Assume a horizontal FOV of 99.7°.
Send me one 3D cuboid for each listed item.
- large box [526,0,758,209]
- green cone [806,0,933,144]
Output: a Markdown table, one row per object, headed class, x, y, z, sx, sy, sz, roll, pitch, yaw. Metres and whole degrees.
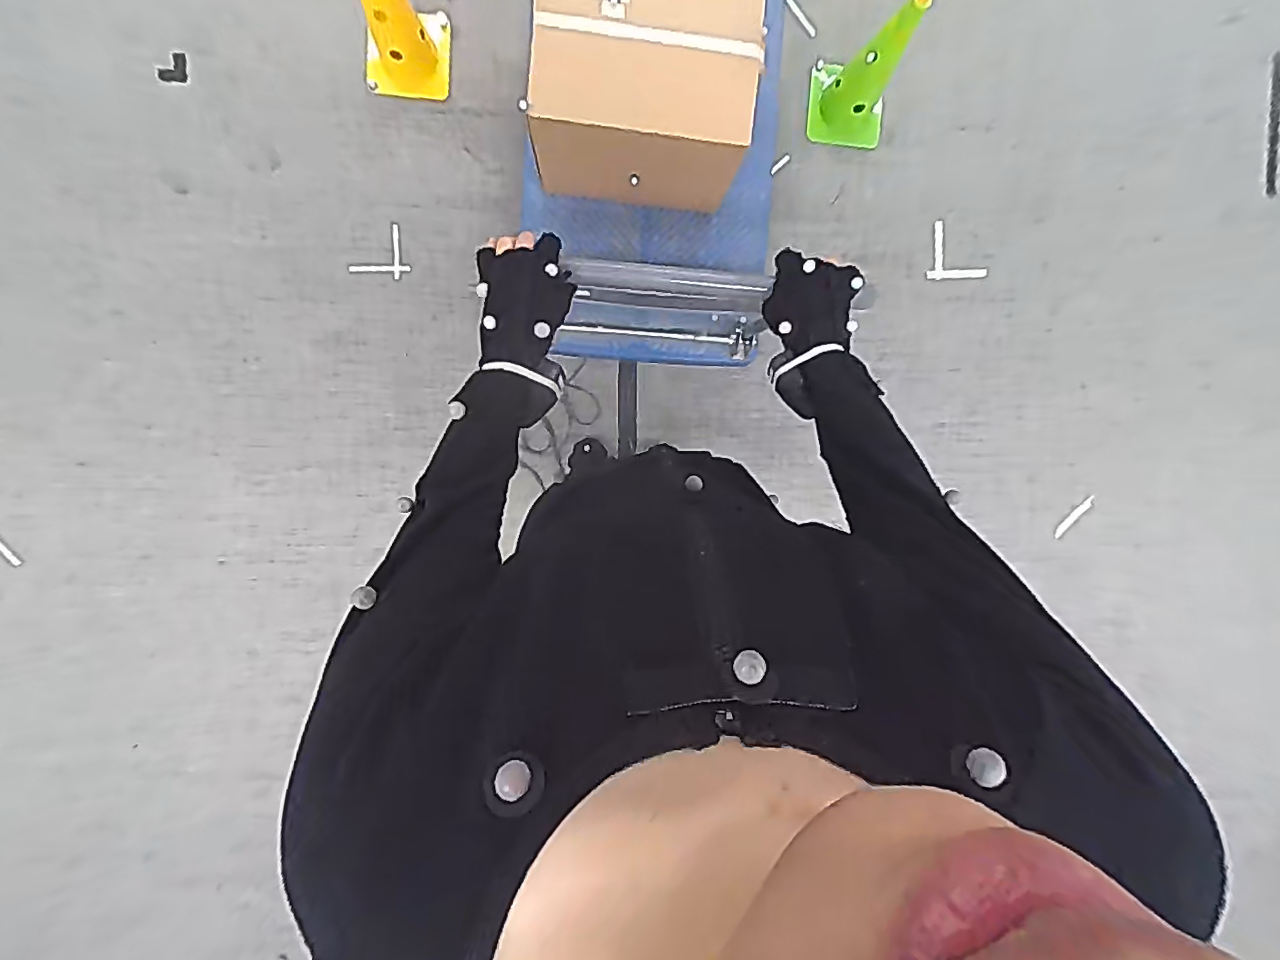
| class | x | y | z | sx | sy | sz | roll | pitch | yaw |
| --- | --- | --- | --- | --- | --- | --- | --- | --- | --- |
| large box | -0.001 | -0.789 | 1.109 | 0.408 | 0.320 | 0.320 | 5 | 94 | -4 |
| green cone | 0.560 | -0.999 | 1.277 | 0.202 | 0.368 | 0.200 | 4 | 94 | -6 |
